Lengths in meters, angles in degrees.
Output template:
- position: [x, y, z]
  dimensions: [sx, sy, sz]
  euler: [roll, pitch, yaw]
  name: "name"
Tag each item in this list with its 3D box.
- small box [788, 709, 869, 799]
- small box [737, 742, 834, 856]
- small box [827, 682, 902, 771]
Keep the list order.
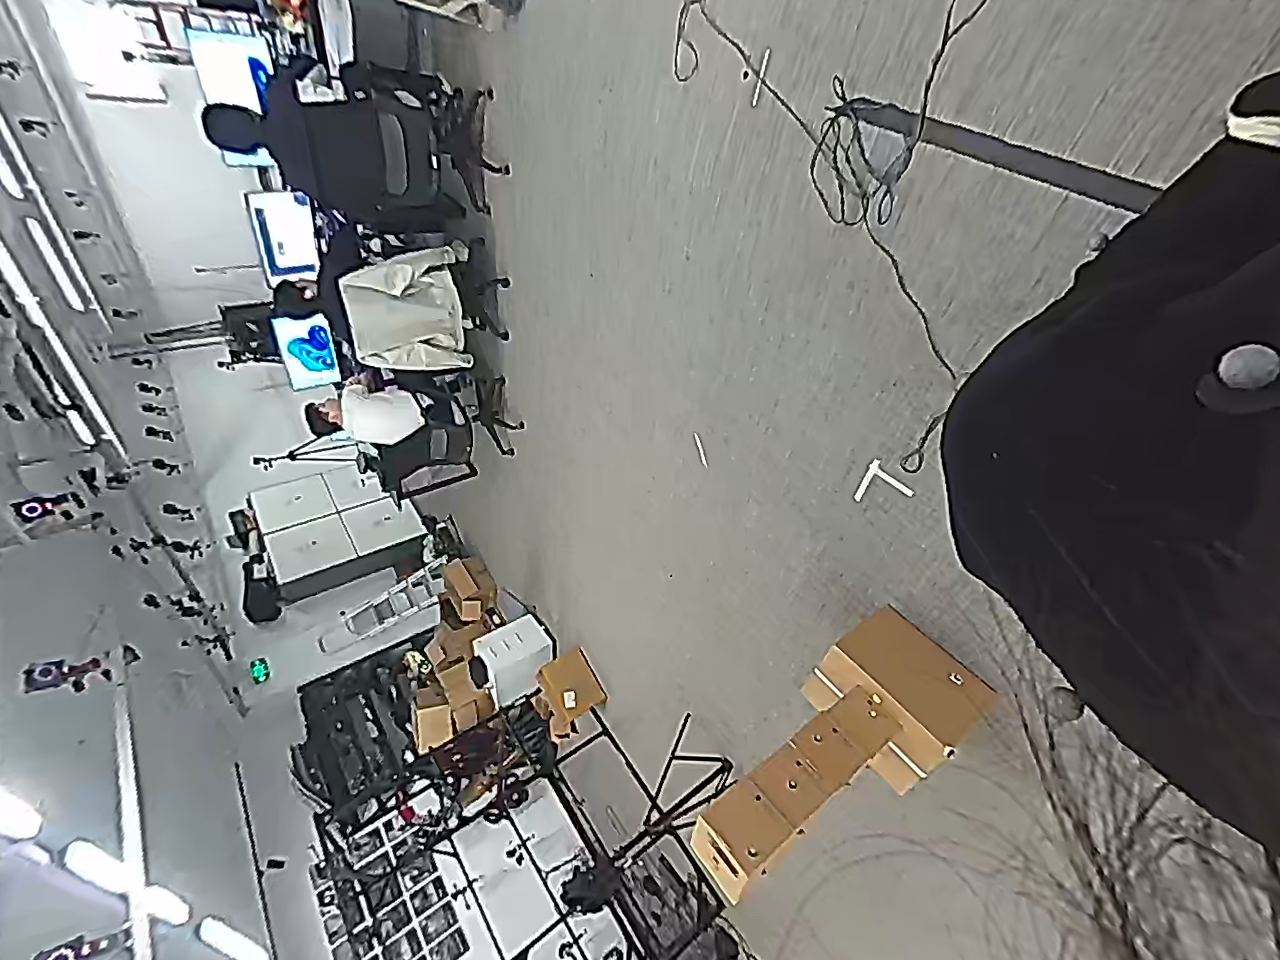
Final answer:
- position: [0.518, 0.790, 1.535]
  dimensions: [0.168, 0.176, 0.179]
  euler: [43, 140, 36]
  name: "small box"
- position: [0.389, 0.845, 1.447]
  dimensions: [0.168, 0.176, 0.179]
  euler: [41, 137, 39]
  name: "small box"
- position: [0.647, 0.748, 1.623]
  dimensions: [0.168, 0.176, 0.179]
  euler: [43, 139, 34]
  name: "small box"
